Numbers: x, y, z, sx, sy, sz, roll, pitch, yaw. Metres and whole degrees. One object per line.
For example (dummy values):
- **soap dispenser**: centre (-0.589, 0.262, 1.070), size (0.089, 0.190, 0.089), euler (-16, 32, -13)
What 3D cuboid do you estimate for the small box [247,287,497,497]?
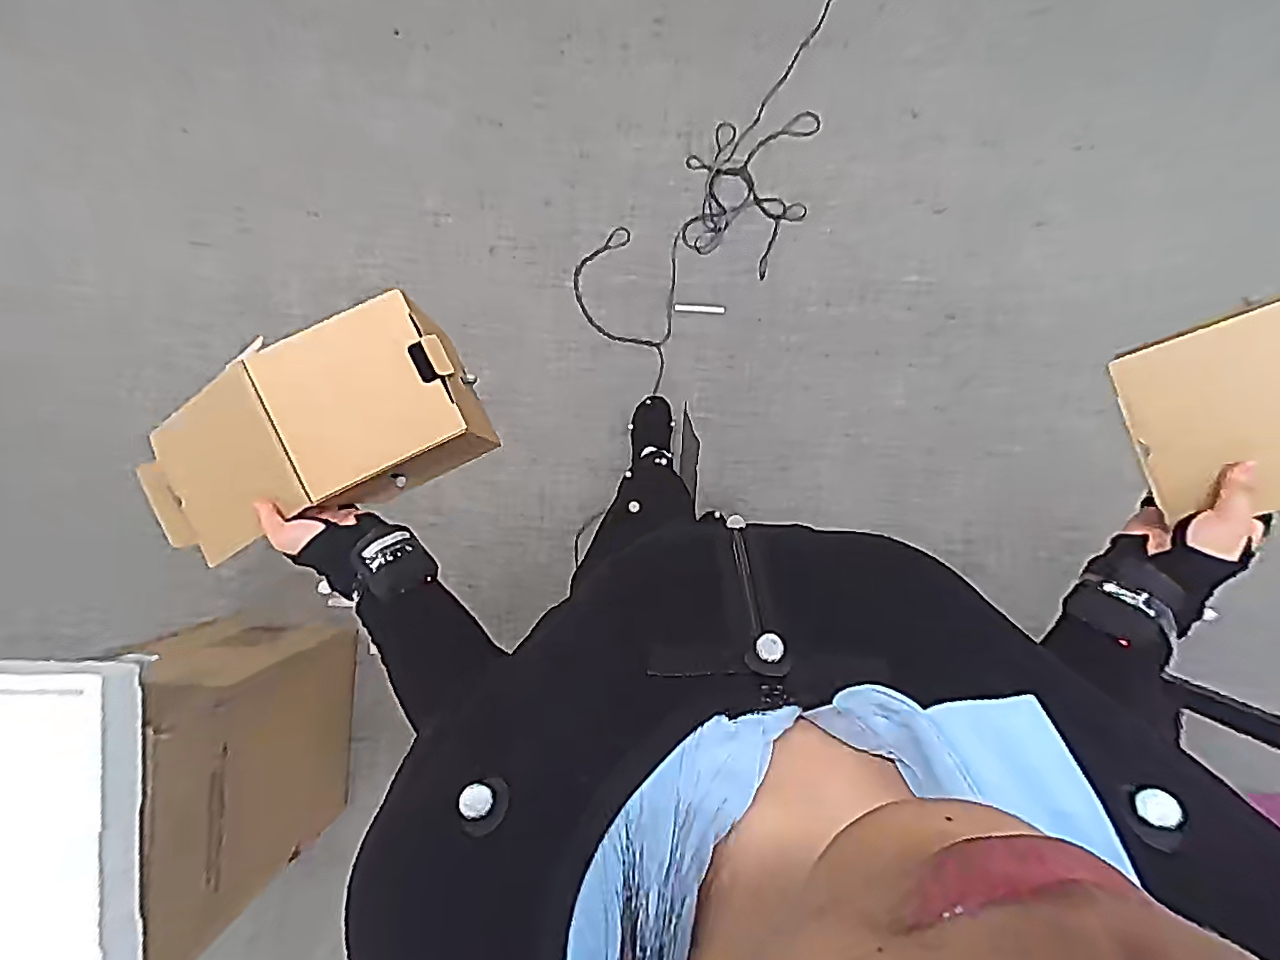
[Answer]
- **small box**: centre (-0.293, -0.087, 0.632), size (0.179, 0.176, 0.168), euler (-27, 90, -4)
